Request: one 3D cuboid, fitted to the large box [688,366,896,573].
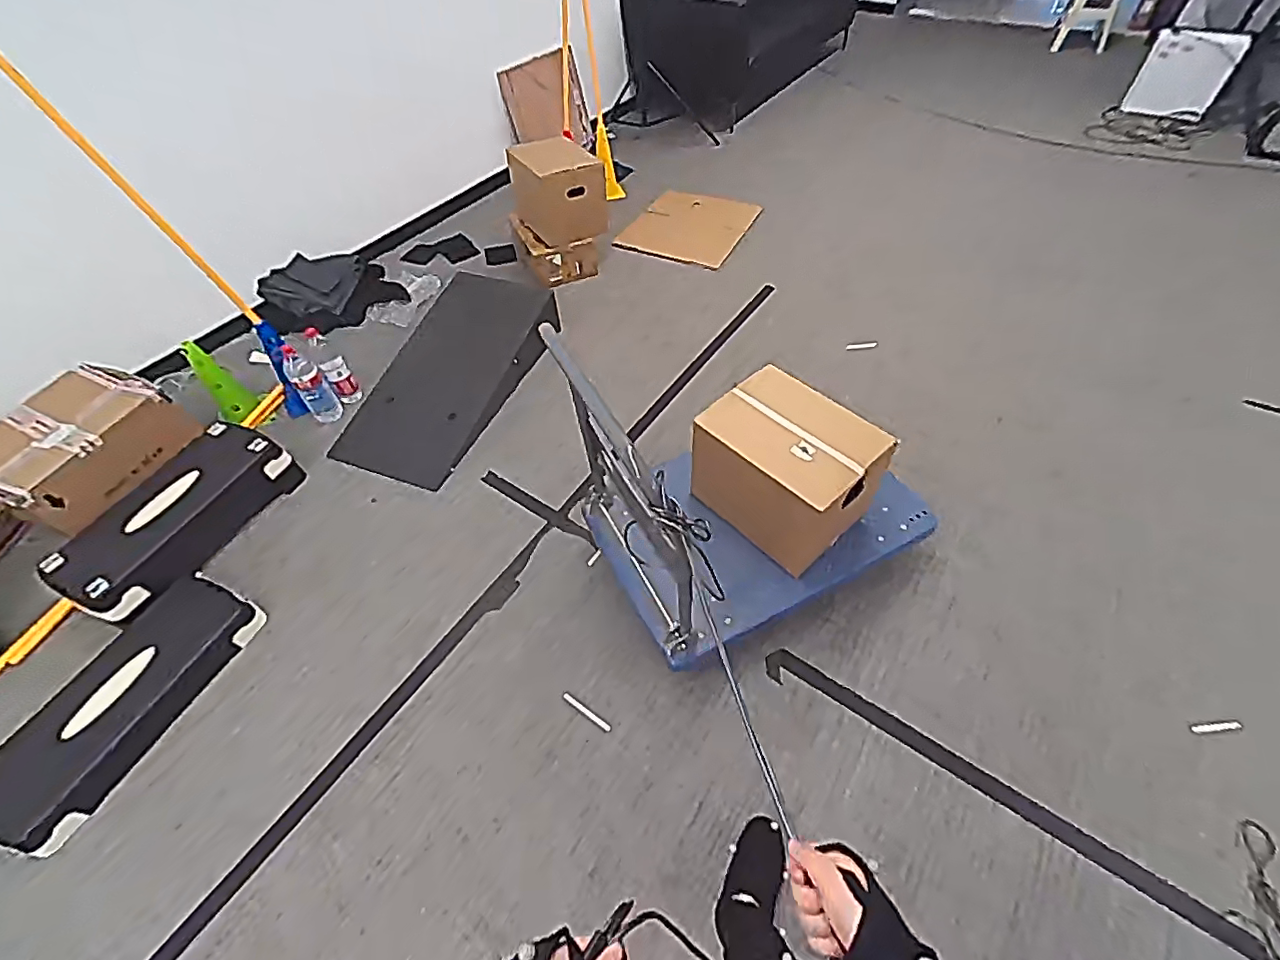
[{"bbox_3d":[0.379,-0.033,1.455,0.320,0.320,0.408,-37,60,-22],"label":"large box"}]
